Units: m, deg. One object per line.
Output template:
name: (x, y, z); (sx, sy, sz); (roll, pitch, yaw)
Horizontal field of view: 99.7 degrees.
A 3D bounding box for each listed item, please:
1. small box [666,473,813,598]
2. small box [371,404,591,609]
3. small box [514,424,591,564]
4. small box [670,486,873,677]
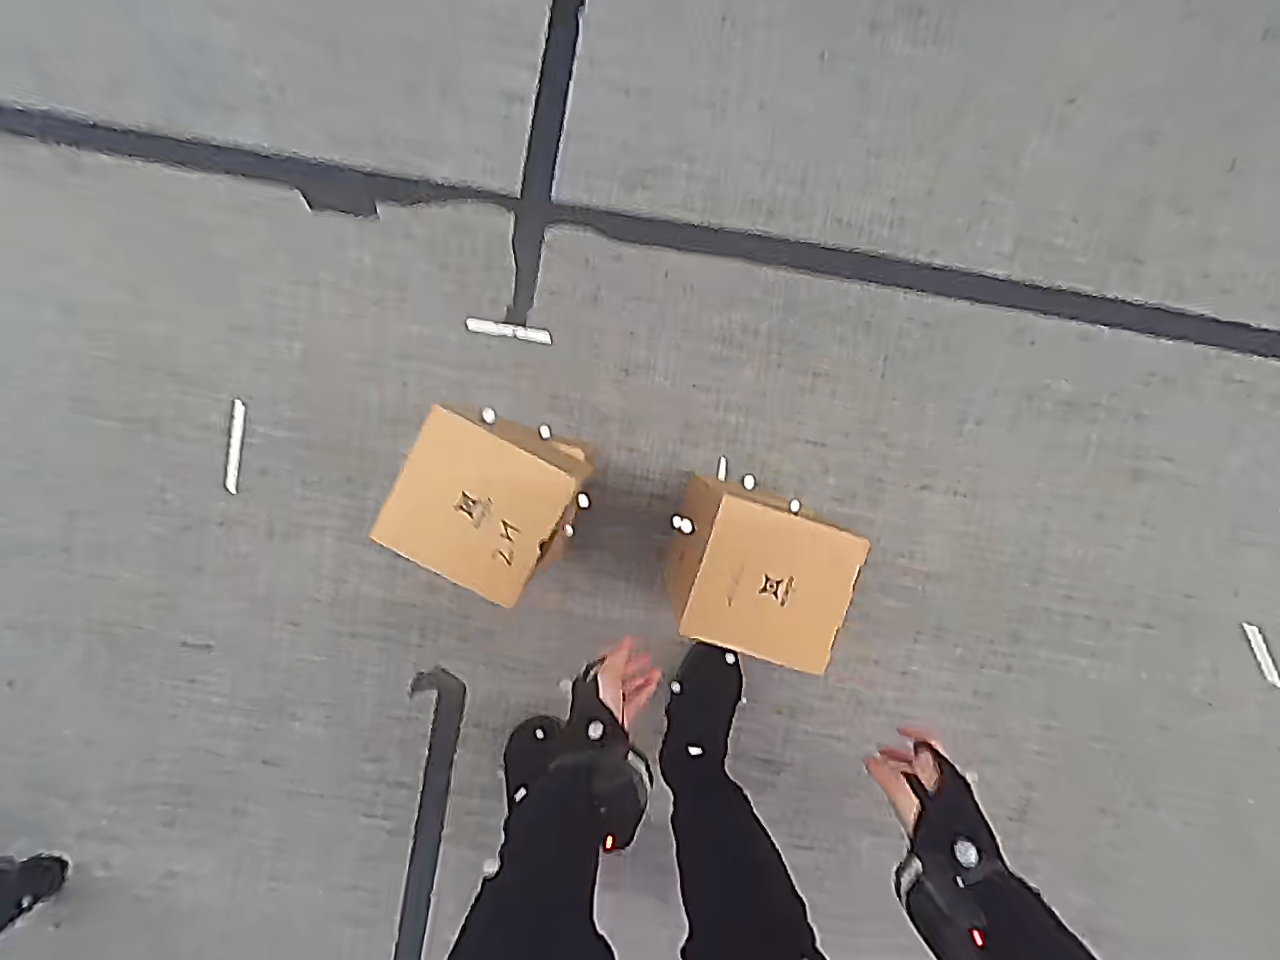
small box: (0.141, 0.099, 0.836); (0.168, 0.176, 0.179); (17, 95, -3)
small box: (-0.176, 0.023, 0.656); (0.179, 0.176, 0.168); (29, 96, -3)
small box: (-0.178, 0.009, 0.820); (0.179, 0.176, 0.168); (16, 96, -3)
small box: (0.148, 0.112, 0.674); (0.179, 0.176, 0.168); (19, 94, -3)
